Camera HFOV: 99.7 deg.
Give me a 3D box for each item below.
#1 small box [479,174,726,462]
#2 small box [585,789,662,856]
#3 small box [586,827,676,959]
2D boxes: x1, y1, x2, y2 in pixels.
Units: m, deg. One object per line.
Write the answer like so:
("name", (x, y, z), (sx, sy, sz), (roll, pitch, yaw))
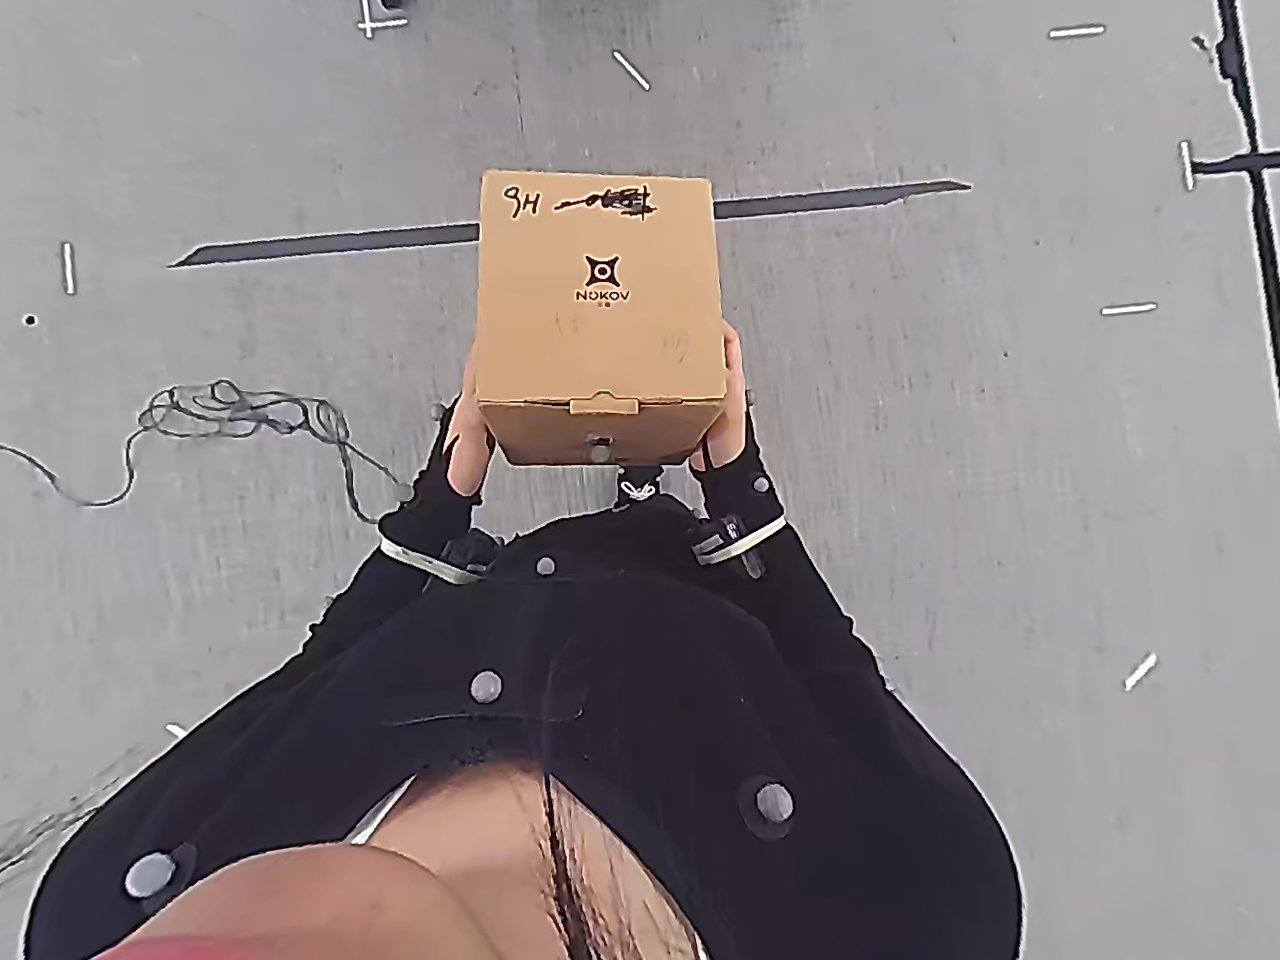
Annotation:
("small box", (-0.031, -0.114, 0.447), (0.168, 0.176, 0.179), (-1, 79, -6))
("small box", (-0.036, 0.934, 1.395), (0.179, 0.176, 0.168), (-11, 89, -2))
("small box", (-0.024, 0.926, 1.231), (0.179, 0.176, 0.168), (-8, 88, -2))
